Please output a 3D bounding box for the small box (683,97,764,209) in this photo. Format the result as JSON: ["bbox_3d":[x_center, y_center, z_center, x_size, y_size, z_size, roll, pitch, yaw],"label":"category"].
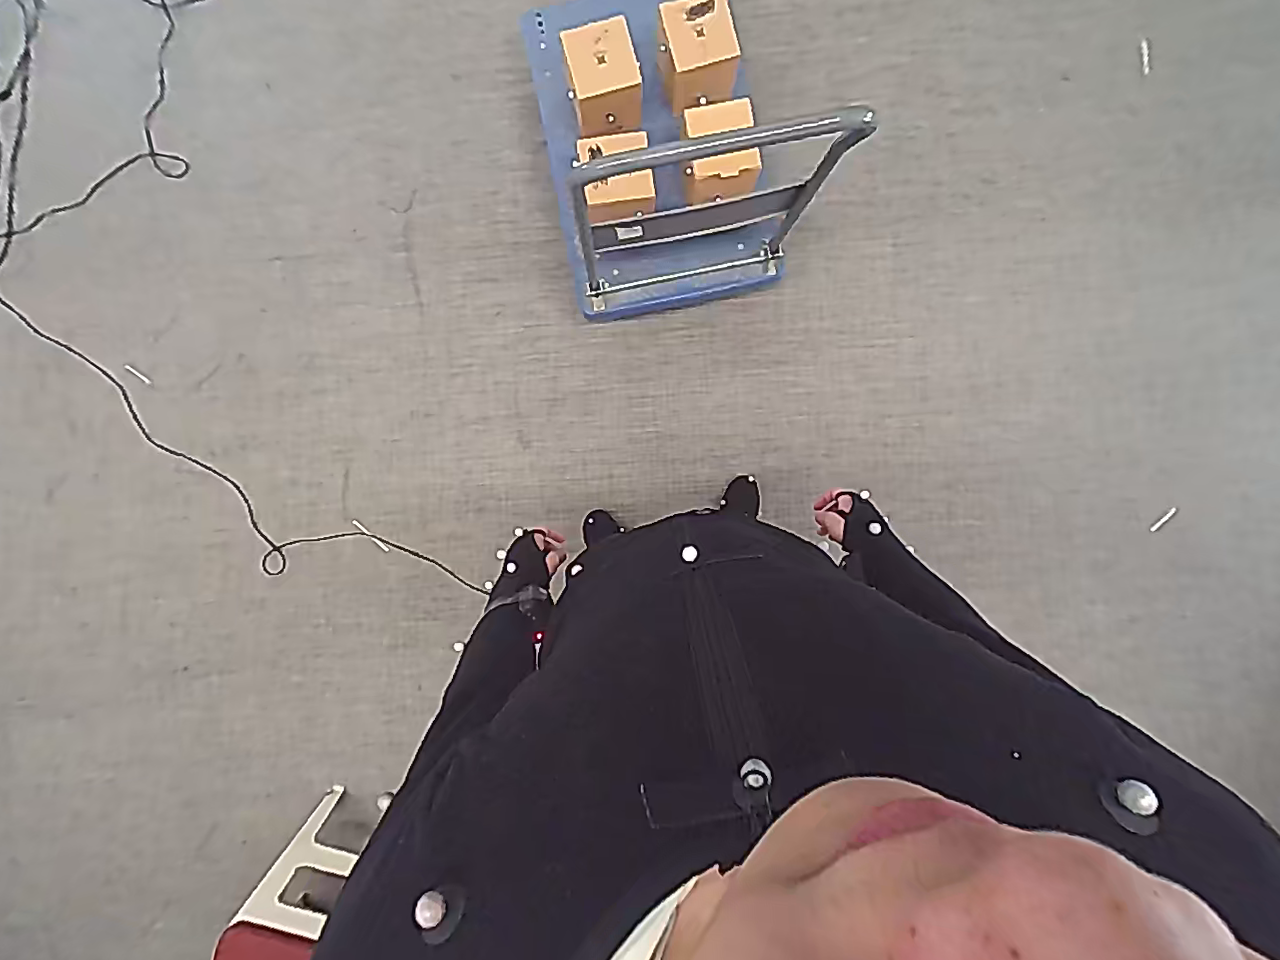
[{"bbox_3d":[0.211,-0.845,1.410,0.168,0.176,0.179,-11,90,1],"label":"small box"}]

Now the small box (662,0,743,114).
[{"bbox_3d":[0.155,-1.110,1.412,0.168,0.176,0.179,-15,90,2],"label":"small box"}]

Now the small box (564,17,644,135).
[{"bbox_3d":[-0.087,-1.042,1.415,0.168,0.176,0.179,-15,89,0],"label":"small box"}]
